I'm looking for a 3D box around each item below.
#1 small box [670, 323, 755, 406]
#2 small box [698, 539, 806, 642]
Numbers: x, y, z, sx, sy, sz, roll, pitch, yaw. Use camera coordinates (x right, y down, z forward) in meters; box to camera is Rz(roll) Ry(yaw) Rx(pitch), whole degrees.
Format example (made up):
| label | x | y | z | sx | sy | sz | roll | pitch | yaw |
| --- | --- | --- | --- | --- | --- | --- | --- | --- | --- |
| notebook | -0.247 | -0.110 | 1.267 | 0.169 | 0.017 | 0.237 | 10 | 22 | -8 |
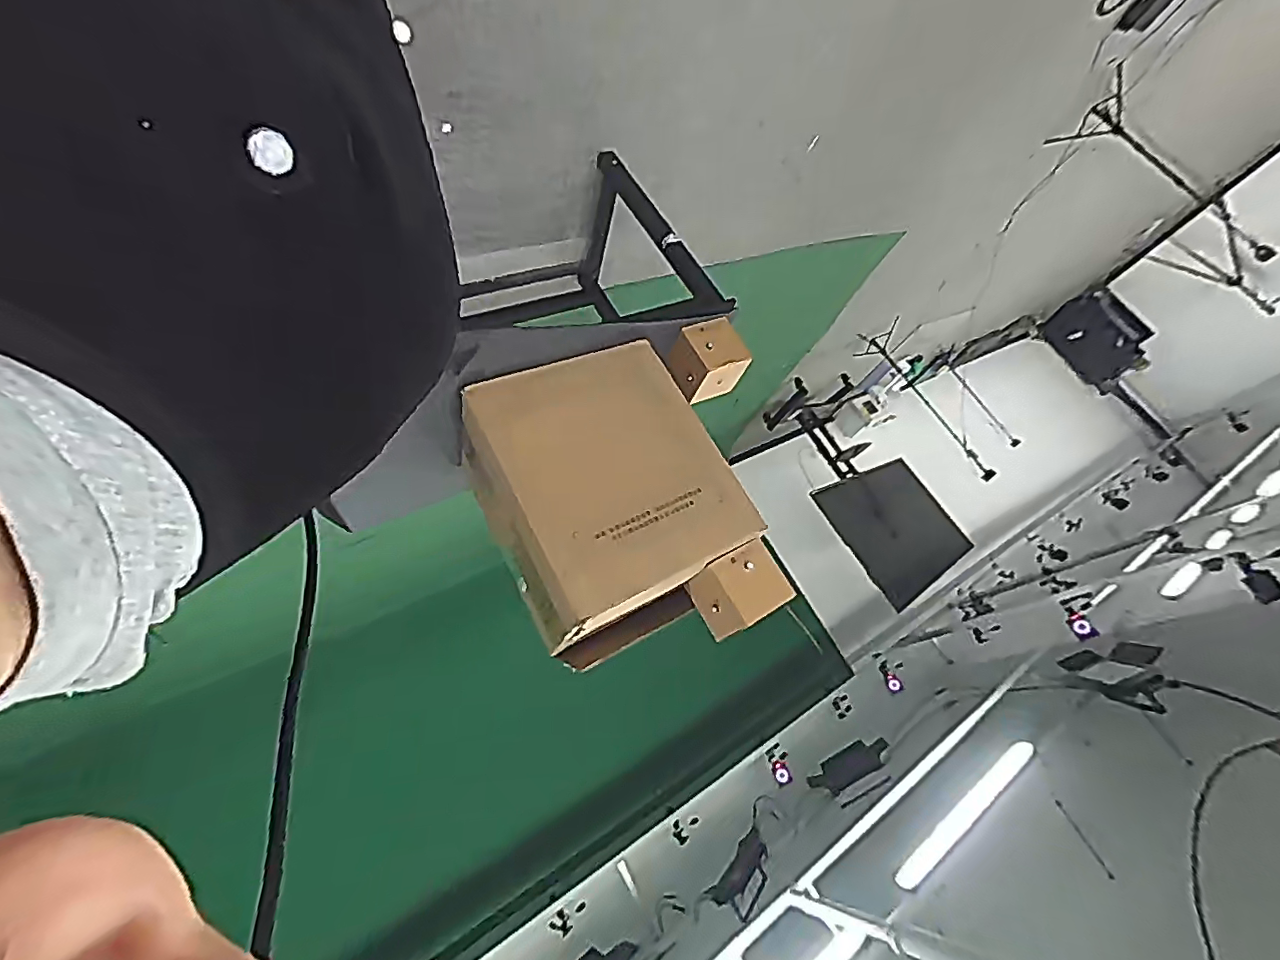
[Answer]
| label | x | y | z | sx | sy | sz | roll | pitch | yaw |
| --- | --- | --- | --- | --- | --- | --- | --- | --- | --- |
| small box | 0.215 | -0.363 | 1.660 | 0.168 | 0.176 | 0.179 | -21 | 162 | -23 |
| small box | 0.268 | 0.273 | 1.348 | 0.168 | 0.176 | 0.179 | -24 | 160 | -28 |
